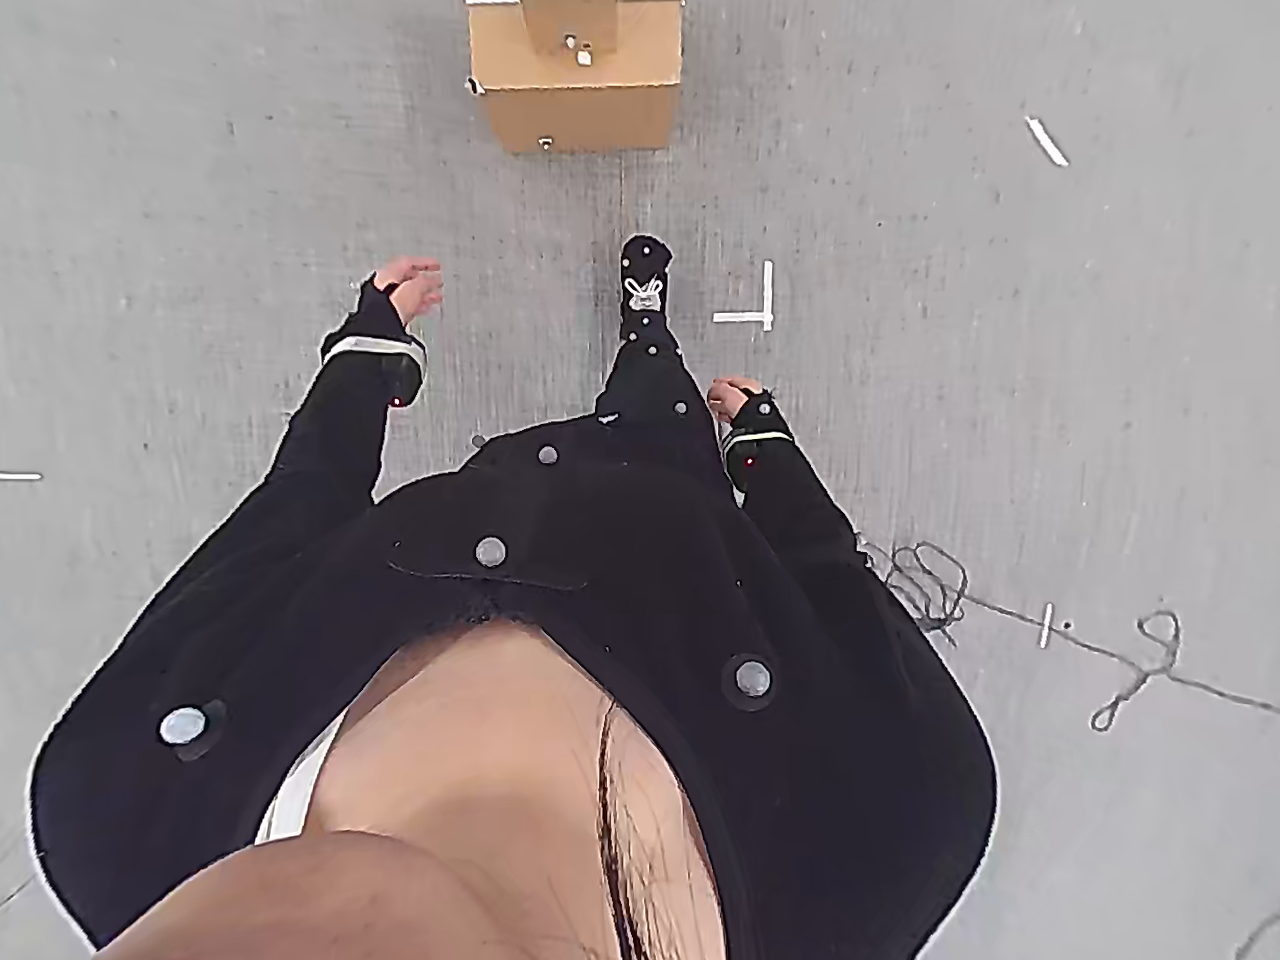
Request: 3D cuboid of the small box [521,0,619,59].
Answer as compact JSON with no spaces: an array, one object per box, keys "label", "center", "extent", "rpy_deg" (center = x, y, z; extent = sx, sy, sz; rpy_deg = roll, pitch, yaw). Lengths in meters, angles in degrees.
[{"label":"small box","center":[-0.122,-0.881,0.944],"extent":[0.168,0.176,0.179],"rpy_deg":[-2,101,-1]}]
